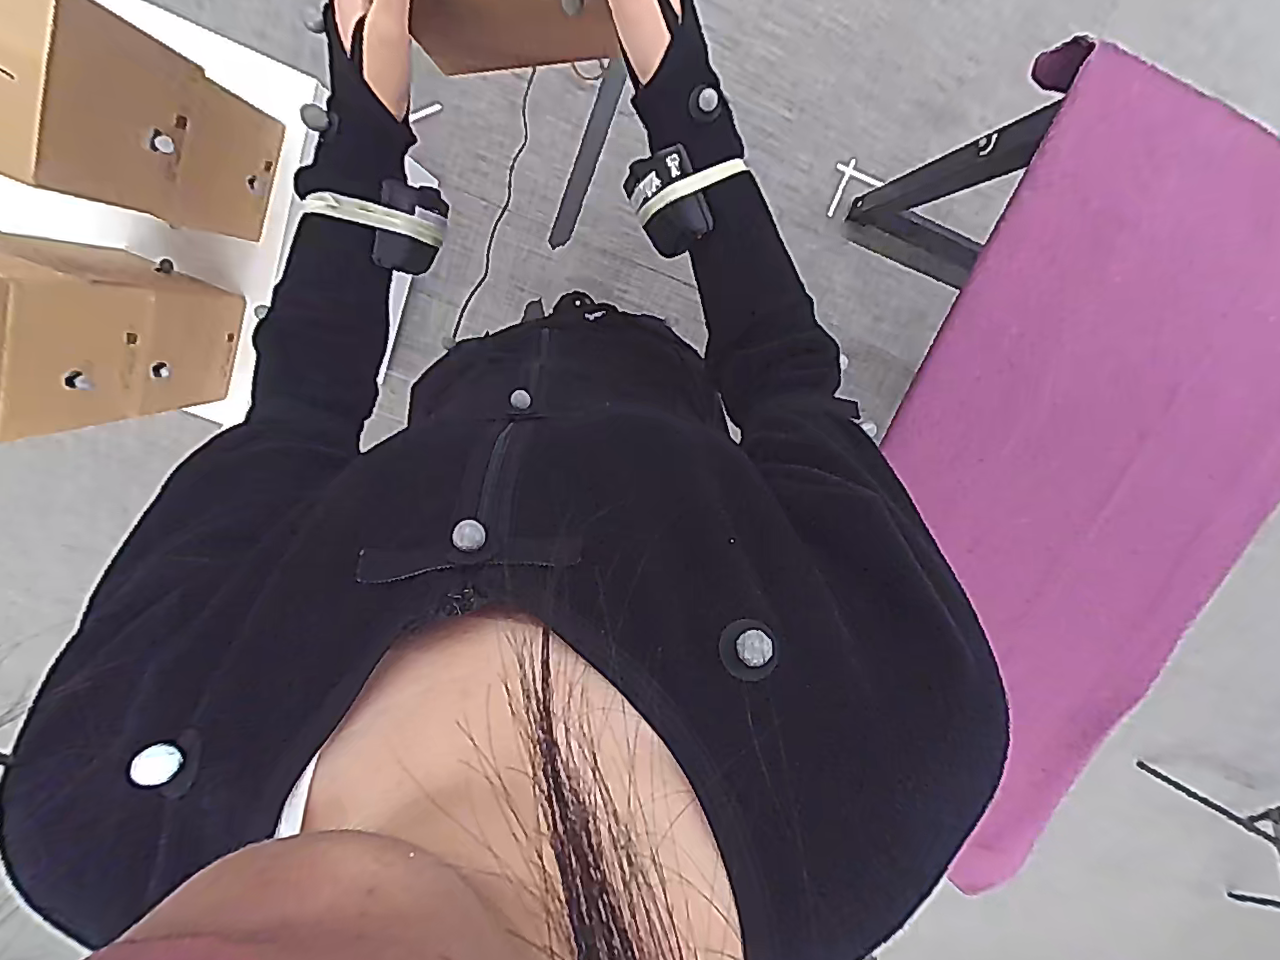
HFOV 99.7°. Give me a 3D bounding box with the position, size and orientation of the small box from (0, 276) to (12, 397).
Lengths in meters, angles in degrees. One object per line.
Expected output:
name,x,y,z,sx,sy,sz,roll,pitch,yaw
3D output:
small box,-0.661,-0.115,0.407,0.179,0.176,0.168,19,105,-9

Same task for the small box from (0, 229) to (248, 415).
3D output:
small box,-0.678,-0.204,0.719,0.179,0.176,0.168,22,105,-8

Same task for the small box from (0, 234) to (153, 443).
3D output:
small box,-0.668,-0.158,0.563,0.179,0.176,0.168,20,104,-8

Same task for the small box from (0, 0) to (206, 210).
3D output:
small box,-0.566,-0.377,0.503,0.179,0.176,0.168,22,105,-10

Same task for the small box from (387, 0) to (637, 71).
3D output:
small box,-0.092,-0.418,0.375,0.179,0.176,0.168,-5,108,1
